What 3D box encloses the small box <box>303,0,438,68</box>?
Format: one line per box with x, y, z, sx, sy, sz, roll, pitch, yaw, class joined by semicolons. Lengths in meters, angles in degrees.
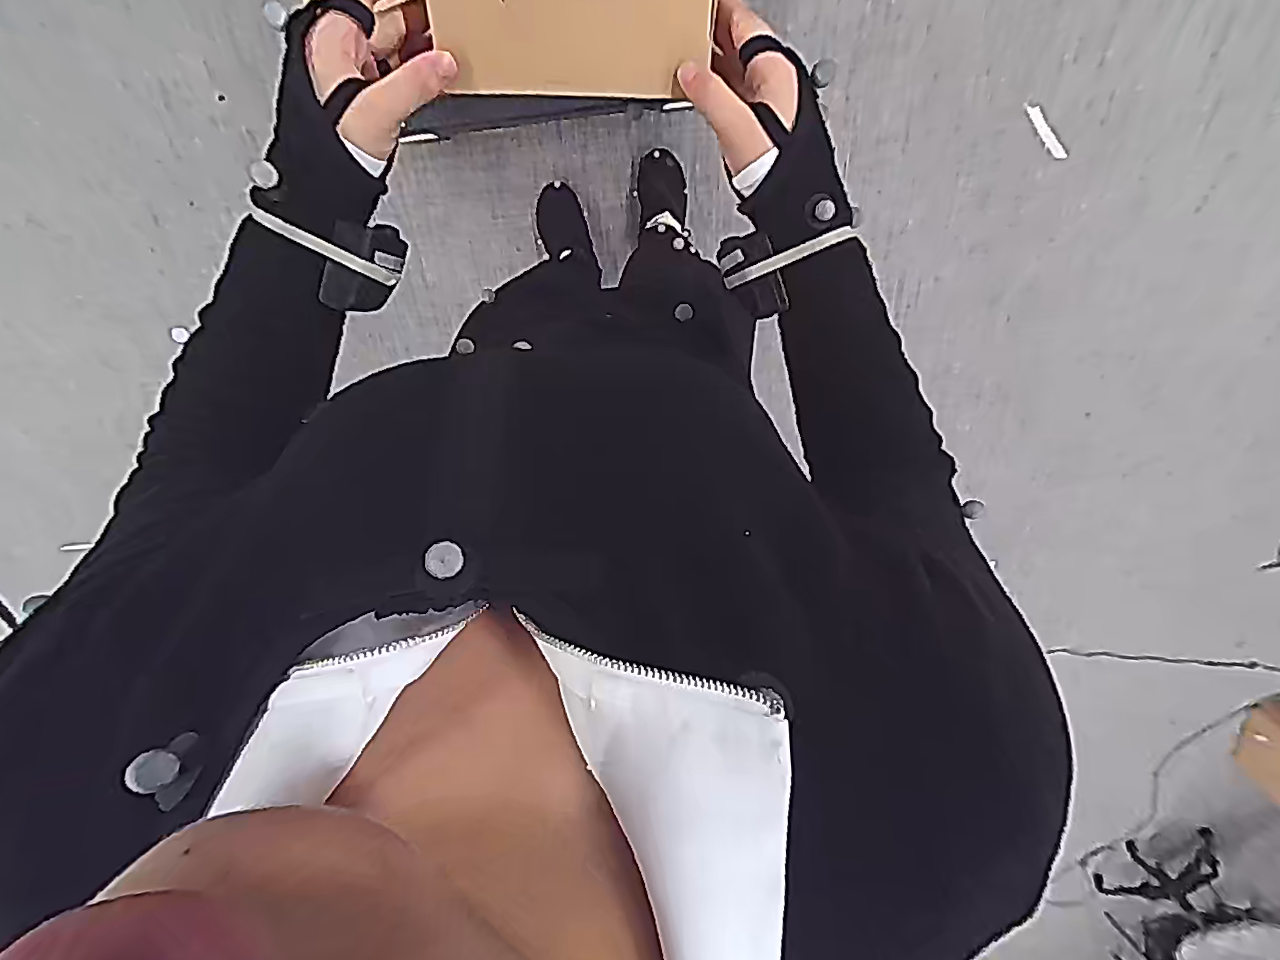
-0.340;-0.671;0.708;0.168;0.176;0.179;-7;121;2;small box

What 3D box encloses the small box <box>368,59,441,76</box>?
-0.344;-0.749;0.852;0.168;0.176;0.179;-6;120;1;small box

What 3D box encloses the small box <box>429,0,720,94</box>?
-0.044;-0.364;0.365;0.179;0.176;0.168;-2;126;-3;small box

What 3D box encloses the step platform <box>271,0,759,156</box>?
-0.175;-0.708;0.844;0.684;0.204;0.286;-7;120;1;step platform
